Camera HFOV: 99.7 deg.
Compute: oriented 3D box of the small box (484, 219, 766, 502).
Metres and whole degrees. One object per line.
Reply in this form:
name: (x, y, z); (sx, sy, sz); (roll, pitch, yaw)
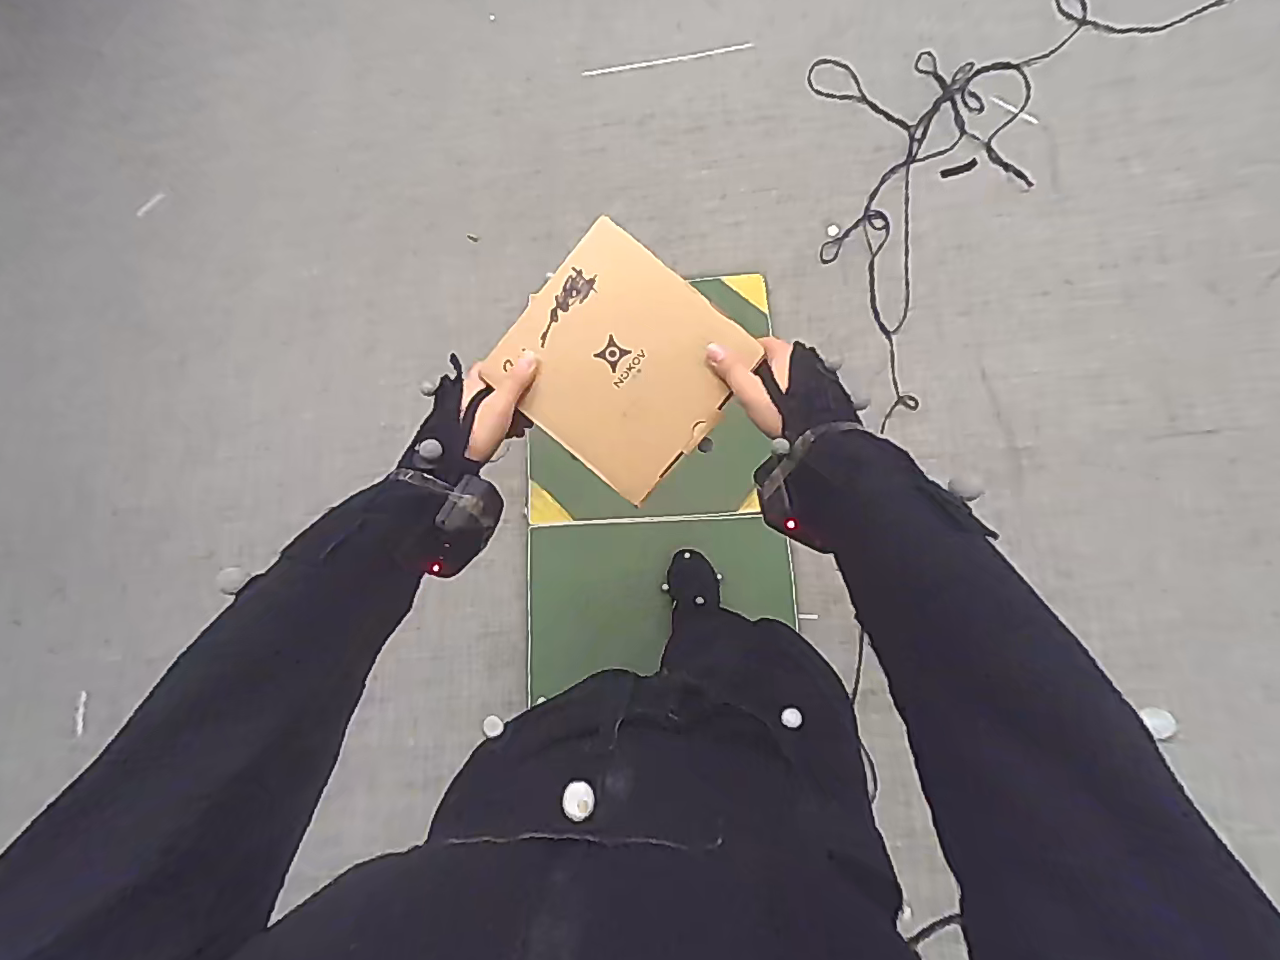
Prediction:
small box: (-0.009, -0.101, 0.521); (0.179, 0.176, 0.168); (41, 93, 1)
